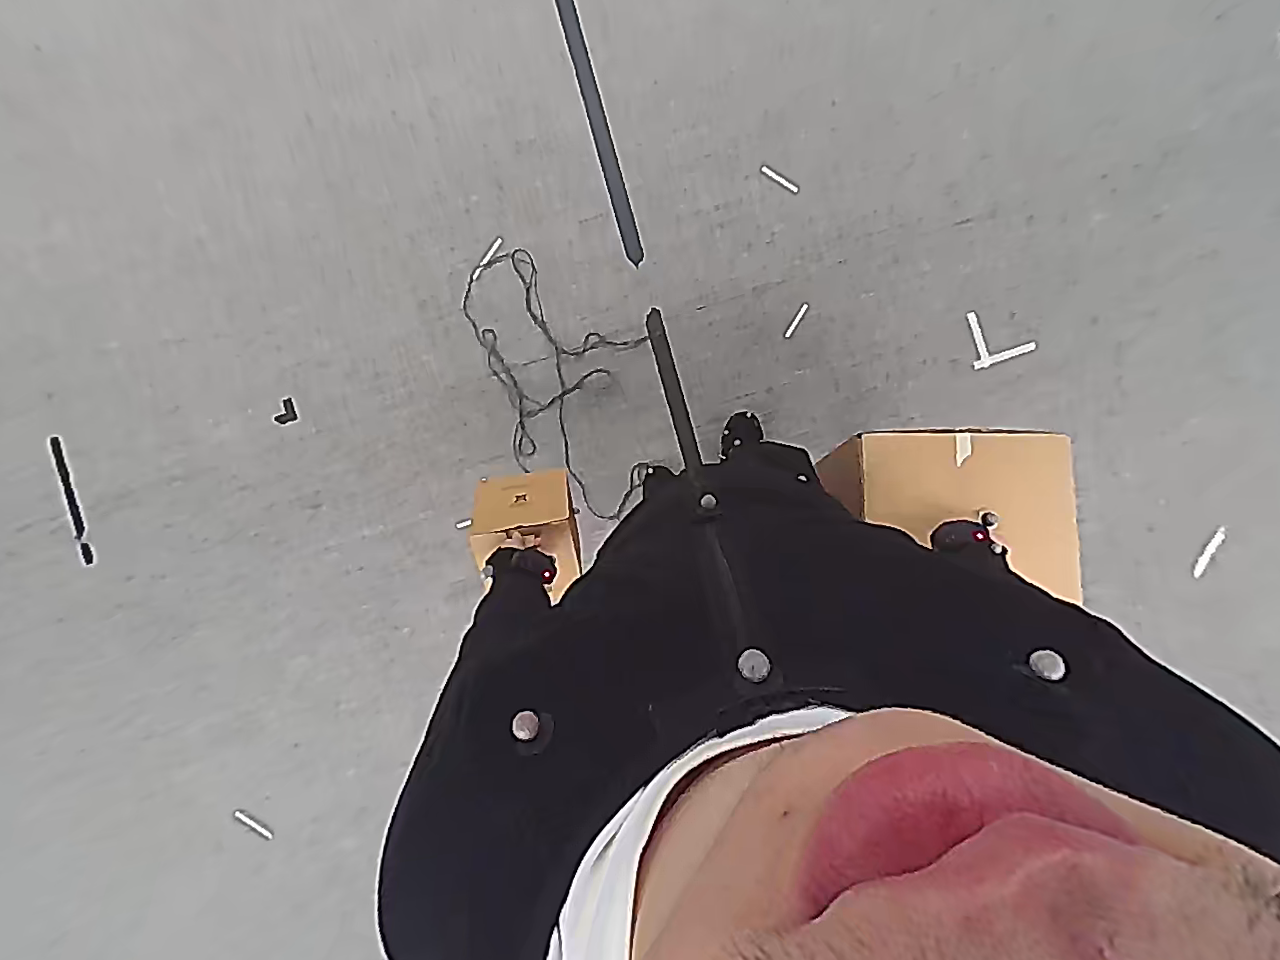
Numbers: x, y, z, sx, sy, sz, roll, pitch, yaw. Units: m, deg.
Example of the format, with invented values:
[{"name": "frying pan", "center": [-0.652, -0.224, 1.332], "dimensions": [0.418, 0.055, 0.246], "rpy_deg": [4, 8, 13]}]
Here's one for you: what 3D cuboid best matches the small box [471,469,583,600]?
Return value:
[{"name": "small box", "center": [-0.201, 0.103, 0.999], "dimensions": [0.168, 0.179, 0.176], "rpy_deg": [-9, 121, -5]}]
